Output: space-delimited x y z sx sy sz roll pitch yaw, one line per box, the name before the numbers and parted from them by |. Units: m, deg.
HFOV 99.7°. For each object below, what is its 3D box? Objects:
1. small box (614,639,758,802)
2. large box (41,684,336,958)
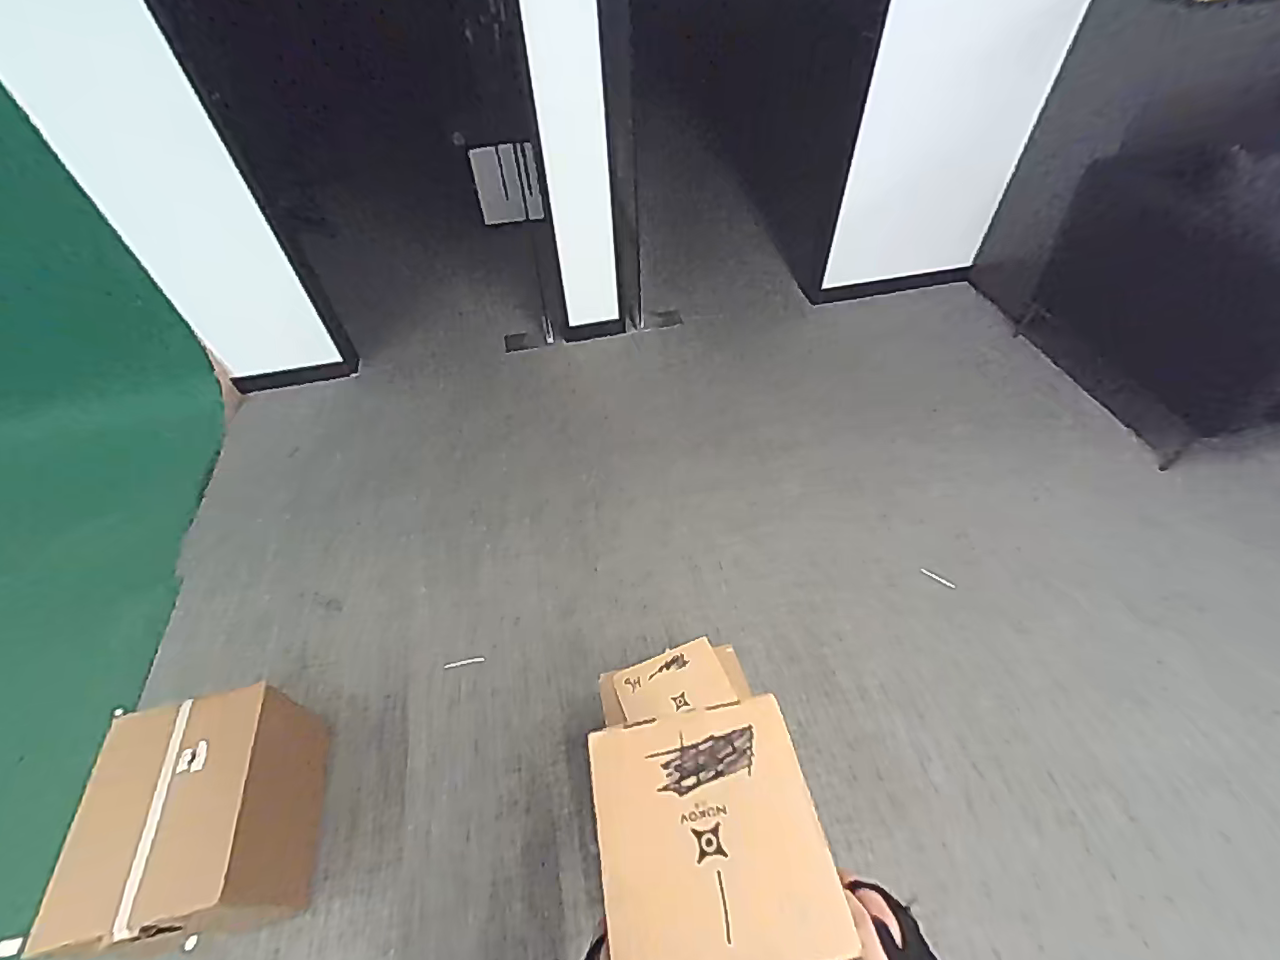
small box | 0.070 0.390 0.864 0.168 0.176 0.179 -19 52 -11
large box | -0.906 0.726 1.167 0.320 0.320 0.408 -12 49 -6
